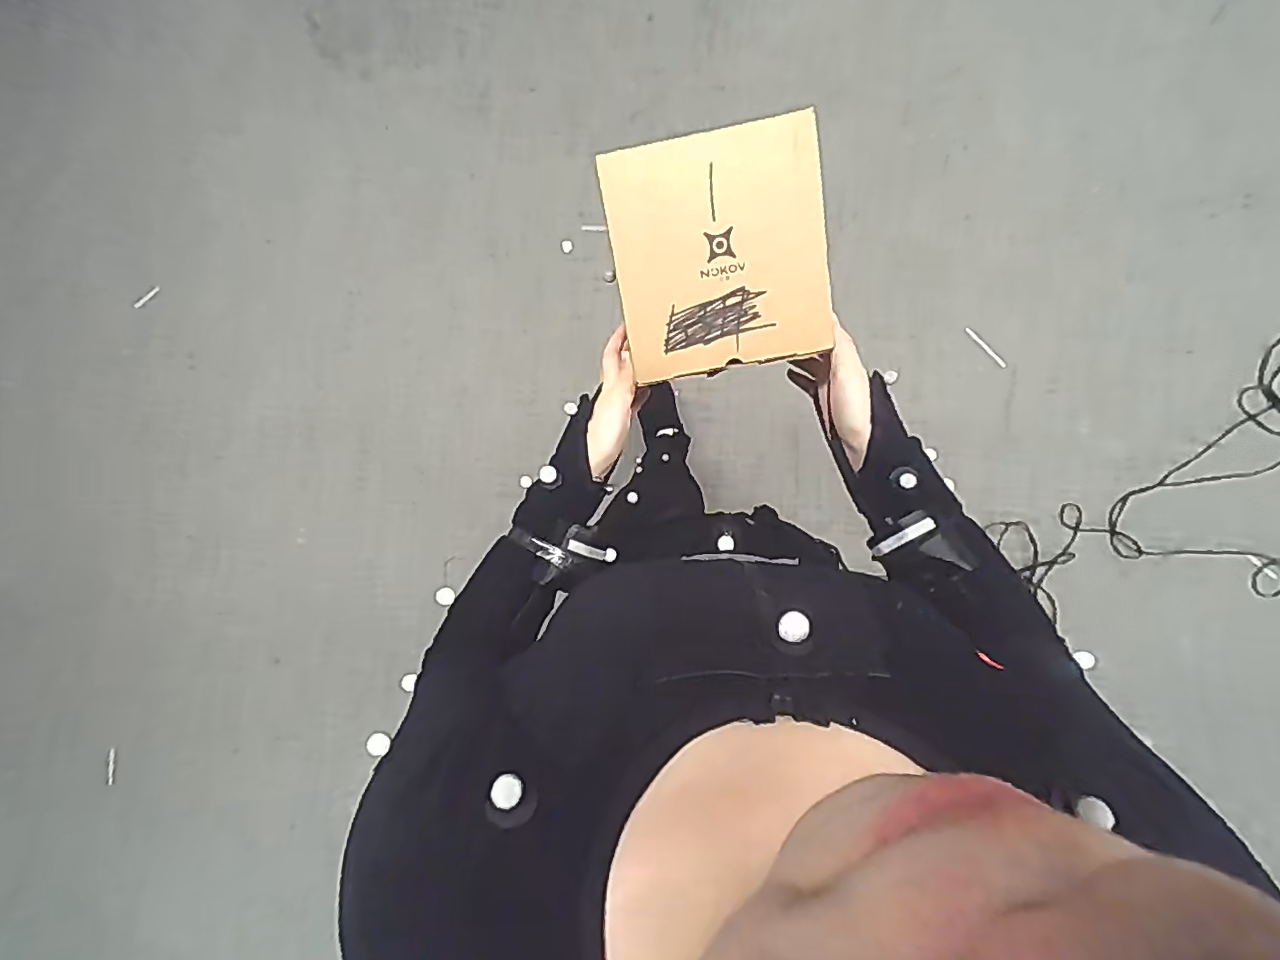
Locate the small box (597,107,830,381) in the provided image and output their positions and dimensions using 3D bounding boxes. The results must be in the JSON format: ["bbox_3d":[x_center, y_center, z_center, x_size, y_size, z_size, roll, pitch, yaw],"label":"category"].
[{"bbox_3d":[0.064,-0.200,0.496,0.168,0.176,0.179,-10,107,4],"label":"small box"}]
